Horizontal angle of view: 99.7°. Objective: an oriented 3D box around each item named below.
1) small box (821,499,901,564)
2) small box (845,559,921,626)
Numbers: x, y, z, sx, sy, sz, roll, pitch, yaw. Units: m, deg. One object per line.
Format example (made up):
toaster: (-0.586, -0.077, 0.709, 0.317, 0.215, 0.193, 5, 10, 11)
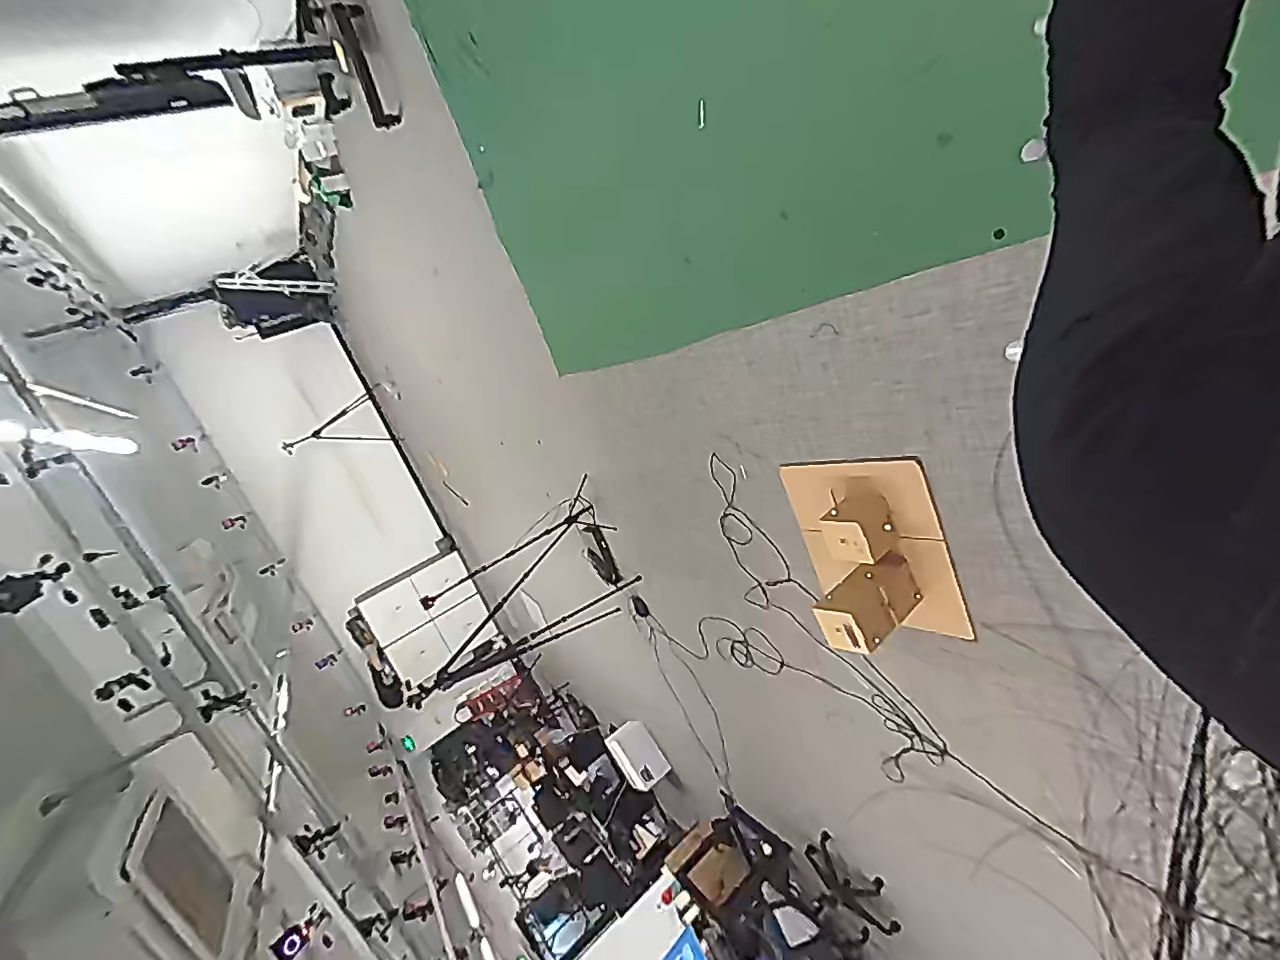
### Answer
small box: (0.783, 0.176, 1.912, 0.179, 0.176, 0.168, -3, 116, 59)
small box: (0.886, 0.400, 1.956, 0.179, 0.176, 0.168, -10, 108, 61)
